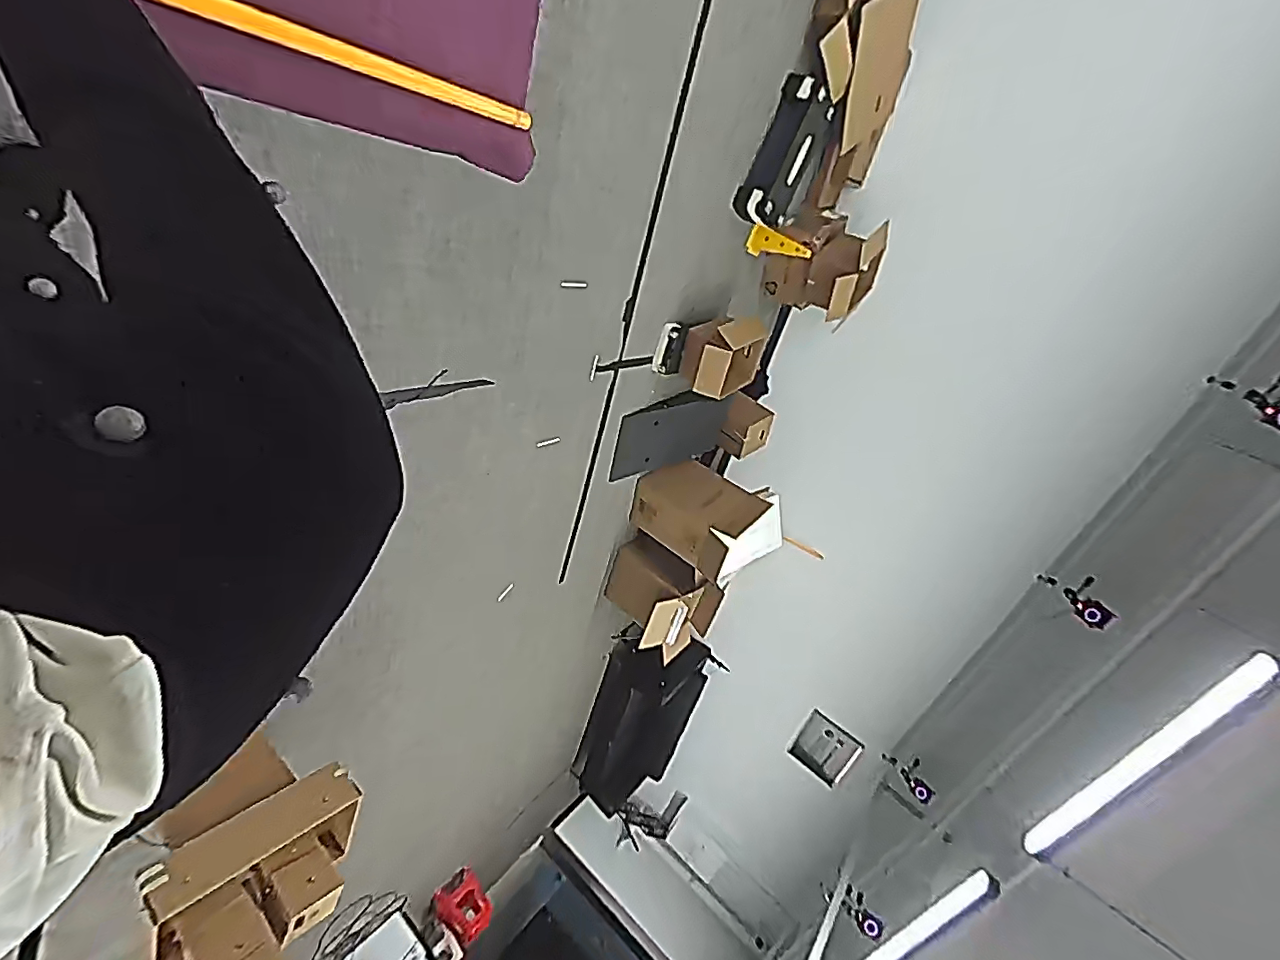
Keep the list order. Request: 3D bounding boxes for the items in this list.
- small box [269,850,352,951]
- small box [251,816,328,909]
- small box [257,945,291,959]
[{"bbox_3d":[-1.139,1.437,1.859,0.179,0.176,0.168,-3,123,-58],"label":"small box"},{"bbox_3d":[-1.263,1.366,1.941,0.179,0.176,0.168,-10,129,-55],"label":"small box"},{"bbox_3d":[-1.136,1.564,1.621,0.168,0.176,0.179,-13,132,-59],"label":"small box"}]
